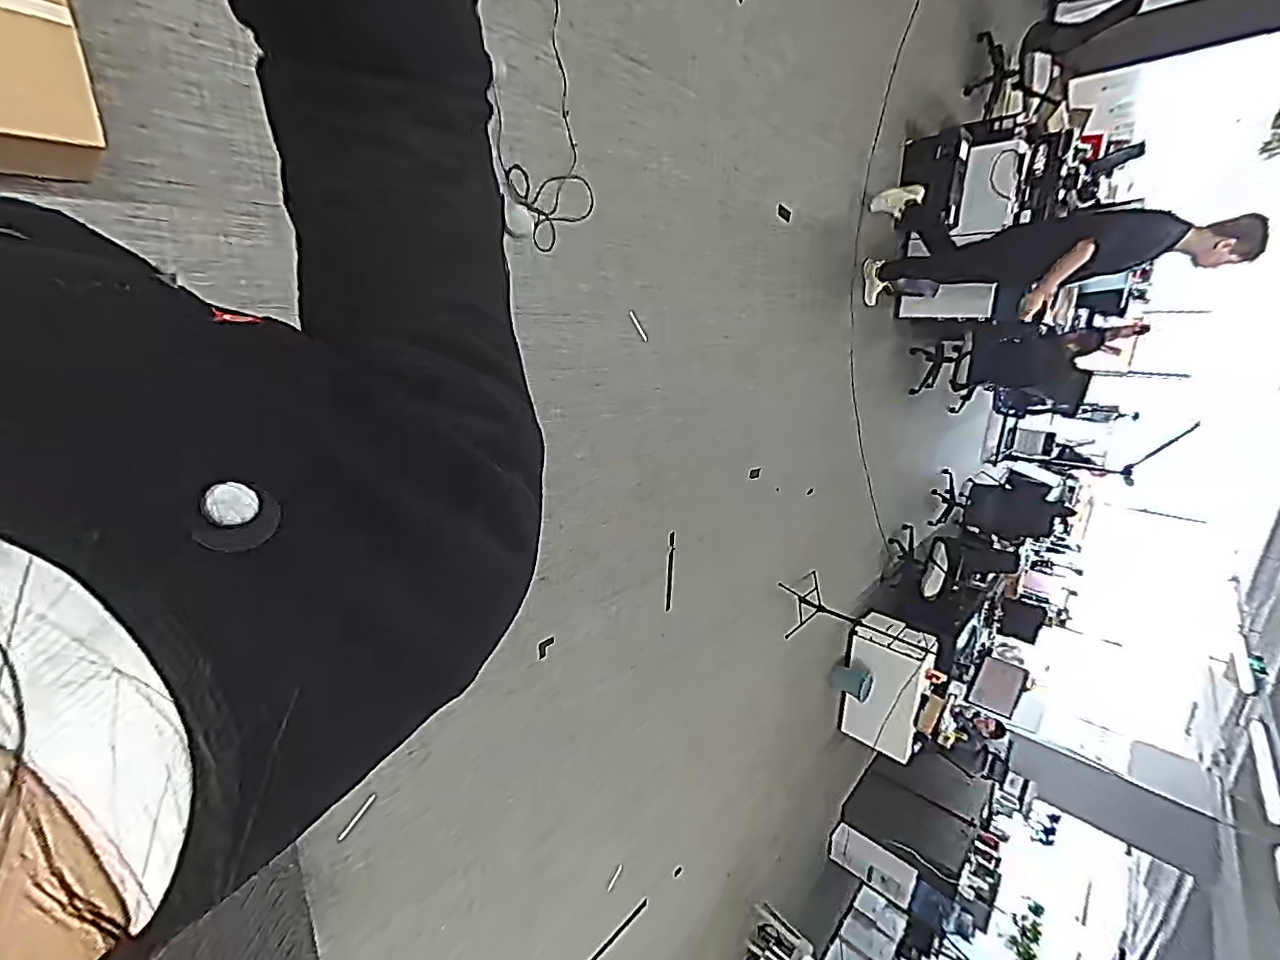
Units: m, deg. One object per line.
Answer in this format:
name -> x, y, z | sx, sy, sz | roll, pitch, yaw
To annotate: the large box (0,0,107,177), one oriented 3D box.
large box -> -1.026, -0.618, 0.704 | 0.408, 0.320, 0.320 | -19, 116, -44
